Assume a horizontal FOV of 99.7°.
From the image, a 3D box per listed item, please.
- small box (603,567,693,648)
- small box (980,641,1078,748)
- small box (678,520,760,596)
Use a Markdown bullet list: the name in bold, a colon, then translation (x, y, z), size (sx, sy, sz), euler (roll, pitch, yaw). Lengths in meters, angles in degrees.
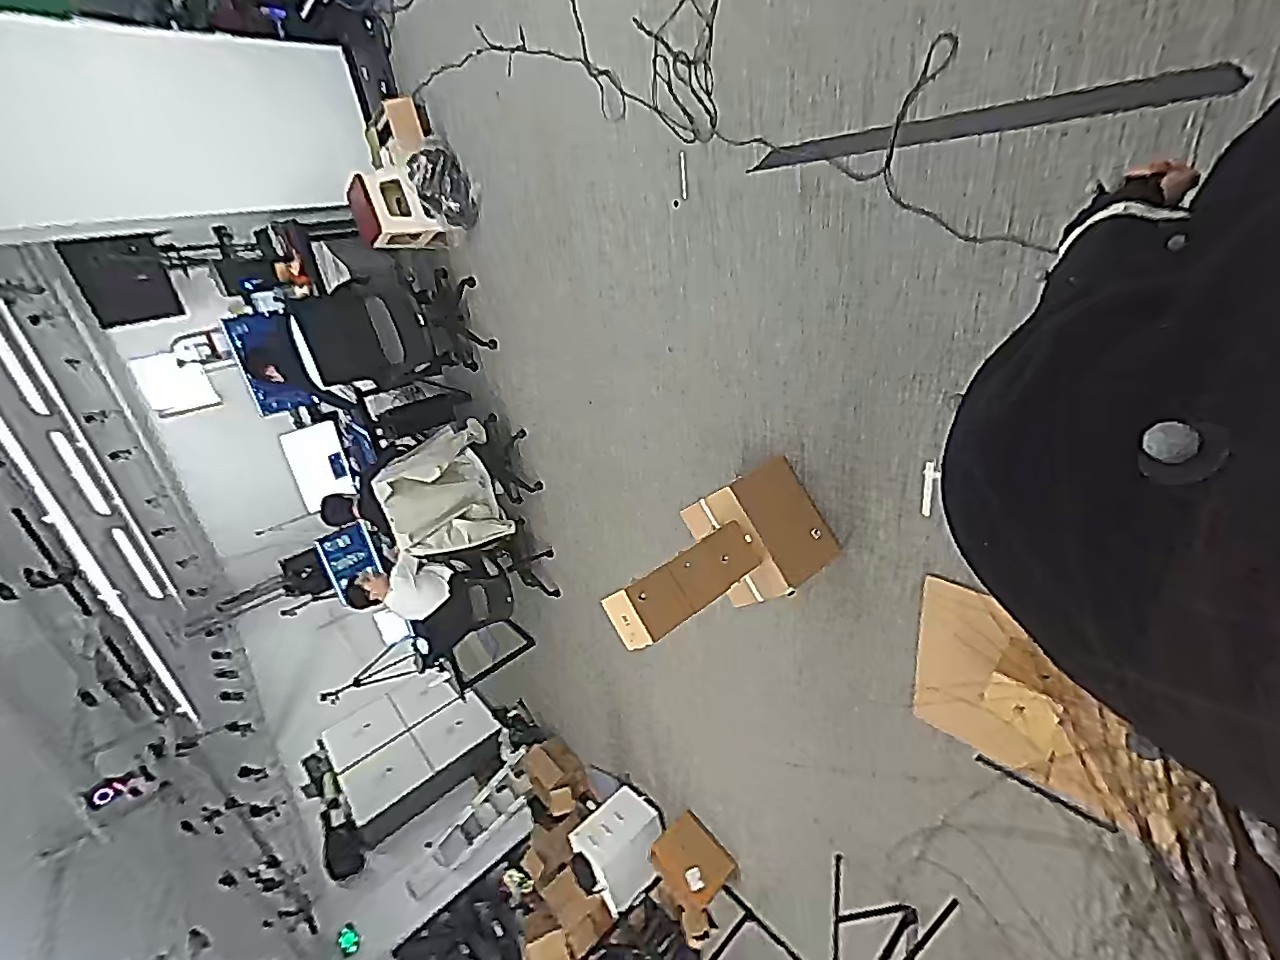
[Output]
- **small box**: translation (0.024, 0.376, 1.620), size (0.179, 0.176, 0.168), euler (60, 146, 7)
- **small box**: translation (1.070, 0.580, 1.483), size (0.168, 0.176, 0.179), euler (24, 129, 41)
- **small box**: translation (0.267, 0.258, 1.809), size (0.179, 0.176, 0.168), euler (60, 145, 8)
